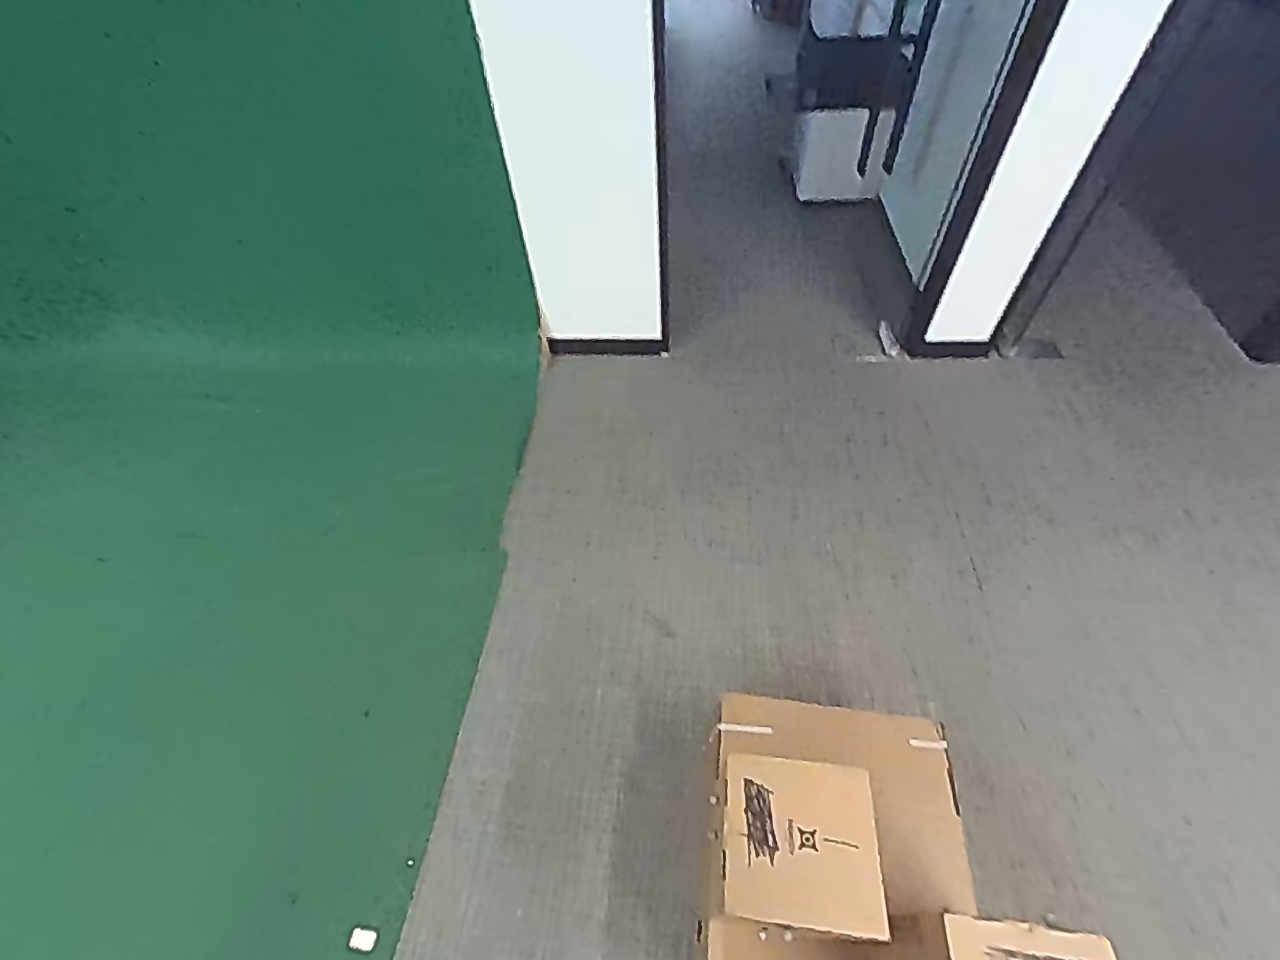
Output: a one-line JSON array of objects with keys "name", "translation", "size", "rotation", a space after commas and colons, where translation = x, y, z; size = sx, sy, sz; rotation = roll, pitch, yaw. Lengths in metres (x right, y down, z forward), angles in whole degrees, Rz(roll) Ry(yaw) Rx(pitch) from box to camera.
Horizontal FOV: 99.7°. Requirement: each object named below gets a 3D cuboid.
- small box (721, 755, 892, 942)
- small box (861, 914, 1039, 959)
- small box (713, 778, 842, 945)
[{"name": "small box", "translation": [0.193, 0.467, 0.683], "size": [0.179, 0.176, 0.168], "rotation": [2, 50, 8]}, {"name": "small box", "translation": [0.407, 0.683, 0.705], "size": [0.179, 0.176, 0.168], "rotation": [2, 50, 7]}, {"name": "small box", "translation": [0.198, 0.572, 0.813], "size": [0.168, 0.176, 0.179], "rotation": [3, 49, 8]}]
